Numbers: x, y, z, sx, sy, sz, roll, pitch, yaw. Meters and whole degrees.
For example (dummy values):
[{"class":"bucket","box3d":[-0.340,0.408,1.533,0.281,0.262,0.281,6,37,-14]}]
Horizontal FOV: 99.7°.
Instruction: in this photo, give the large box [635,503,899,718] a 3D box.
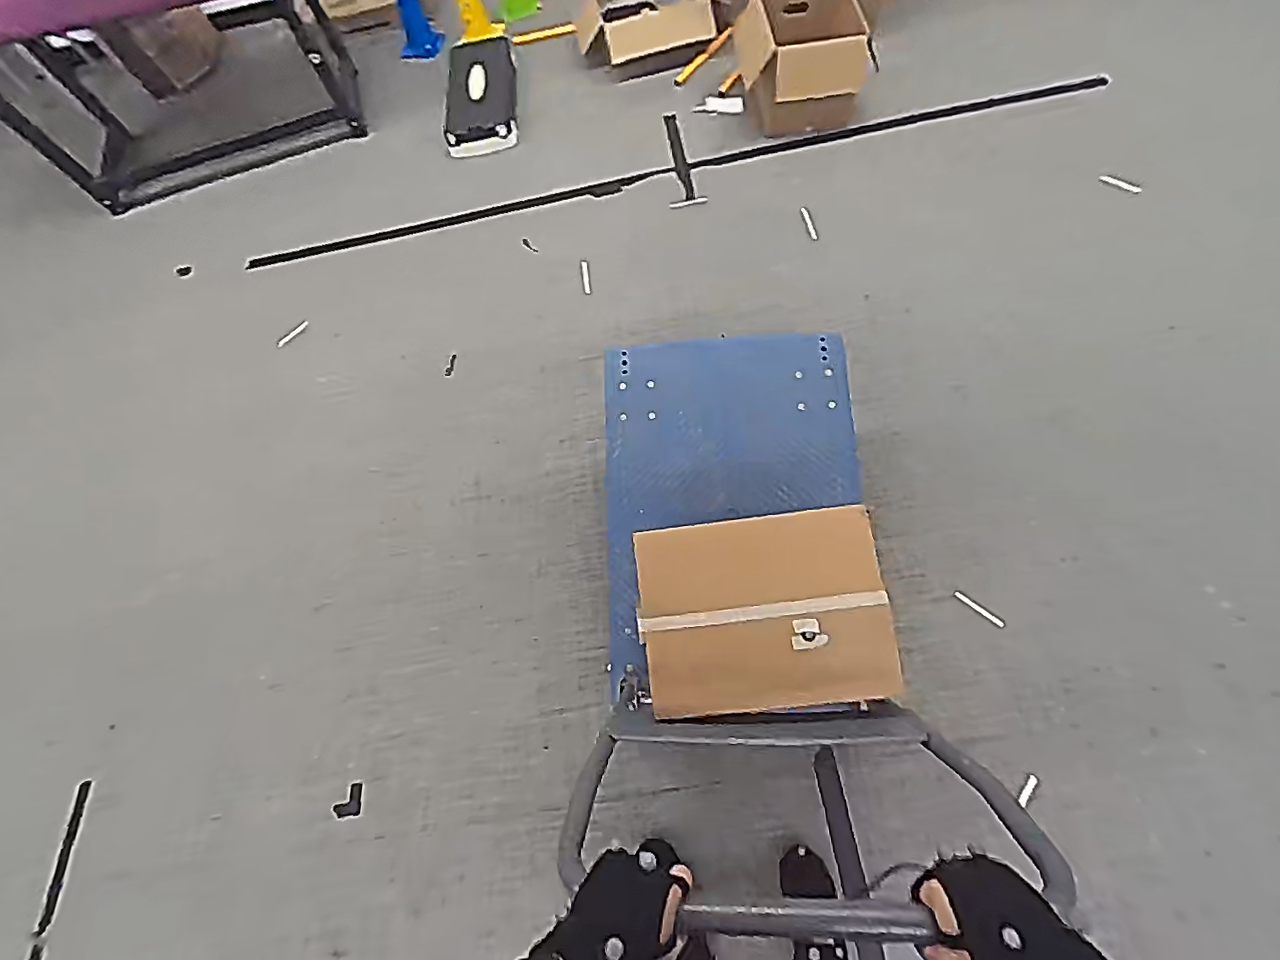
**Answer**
[{"class":"large box","box3d":[0.219,0.249,1.065,0.408,0.320,0.320,-8,78,3]}]
